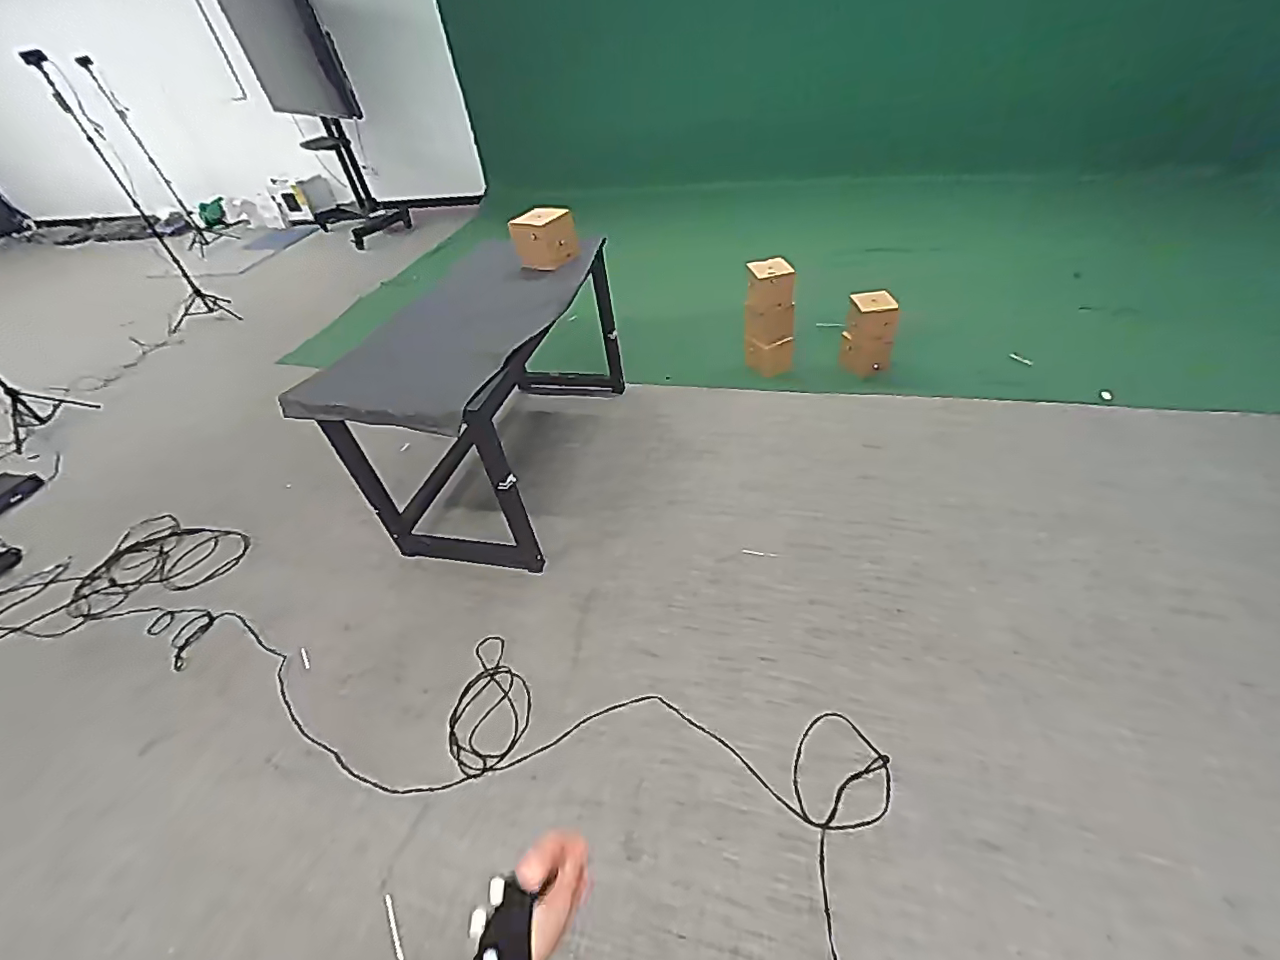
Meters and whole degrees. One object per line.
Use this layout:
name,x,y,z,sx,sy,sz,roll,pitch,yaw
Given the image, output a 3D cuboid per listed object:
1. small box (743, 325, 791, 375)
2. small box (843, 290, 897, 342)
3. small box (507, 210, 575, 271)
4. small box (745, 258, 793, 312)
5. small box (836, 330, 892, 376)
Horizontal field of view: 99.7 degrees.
small box,0.626,-0.638,2.675,0.168,0.176,0.179,-26,45,-17
small box,1.046,-0.743,2.469,0.168,0.176,0.179,-6,42,2
small box,-0.371,-0.913,2.063,0.179,0.176,0.168,19,50,30
small box,0.582,-0.890,2.468,0.168,0.176,0.179,-13,43,-3
small box,1.060,-0.619,2.574,0.168,0.176,0.179,-21,45,-12
